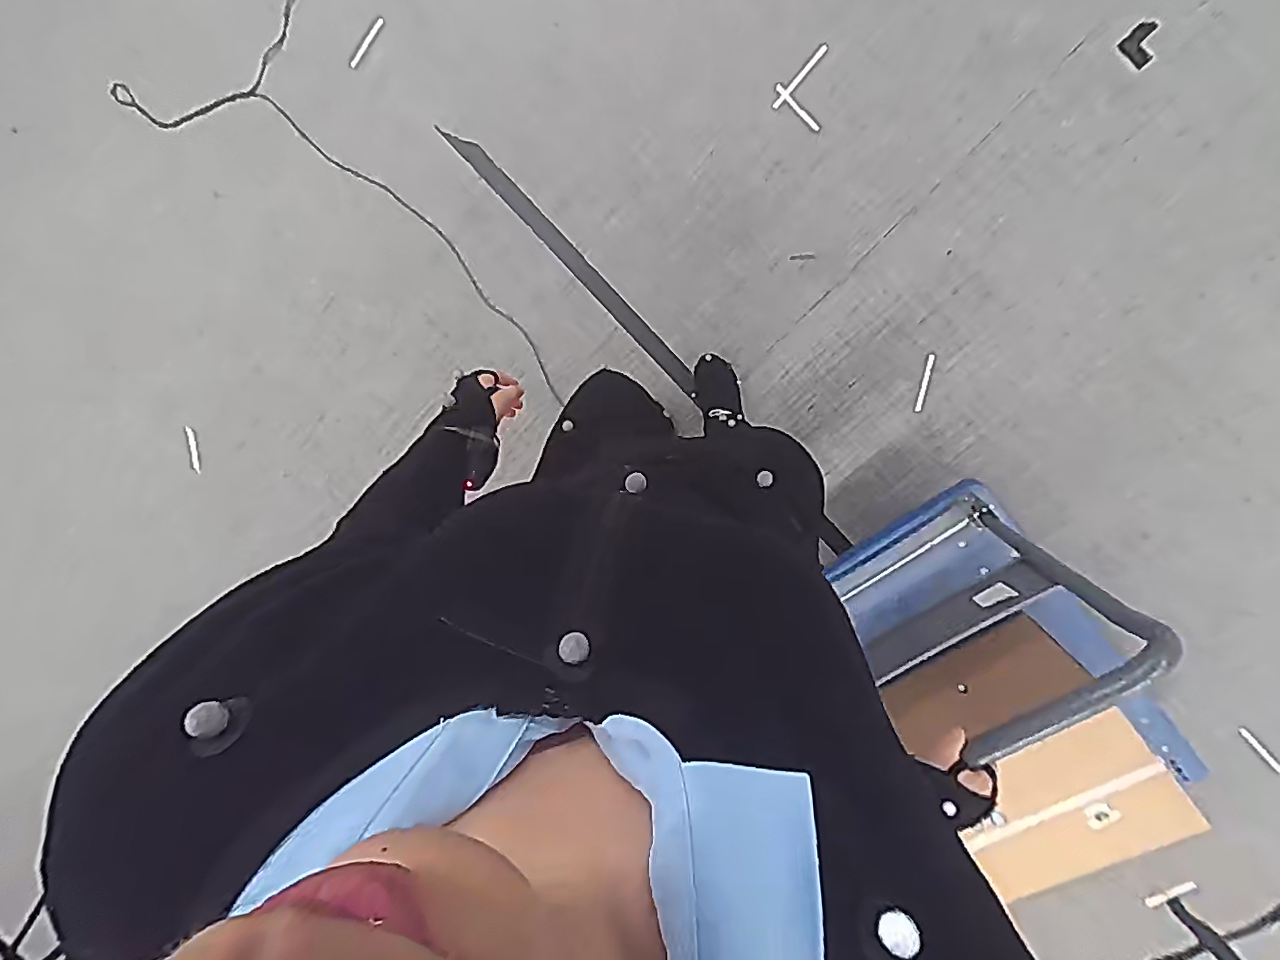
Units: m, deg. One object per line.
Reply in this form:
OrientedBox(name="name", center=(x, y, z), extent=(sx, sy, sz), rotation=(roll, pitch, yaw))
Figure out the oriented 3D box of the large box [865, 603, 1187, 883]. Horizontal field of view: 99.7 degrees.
OrientedBox(name="large box", center=(0.772, 0.542, 1.162), extent=(0.408, 0.320, 0.320), rotation=(-38, 94, 16))
